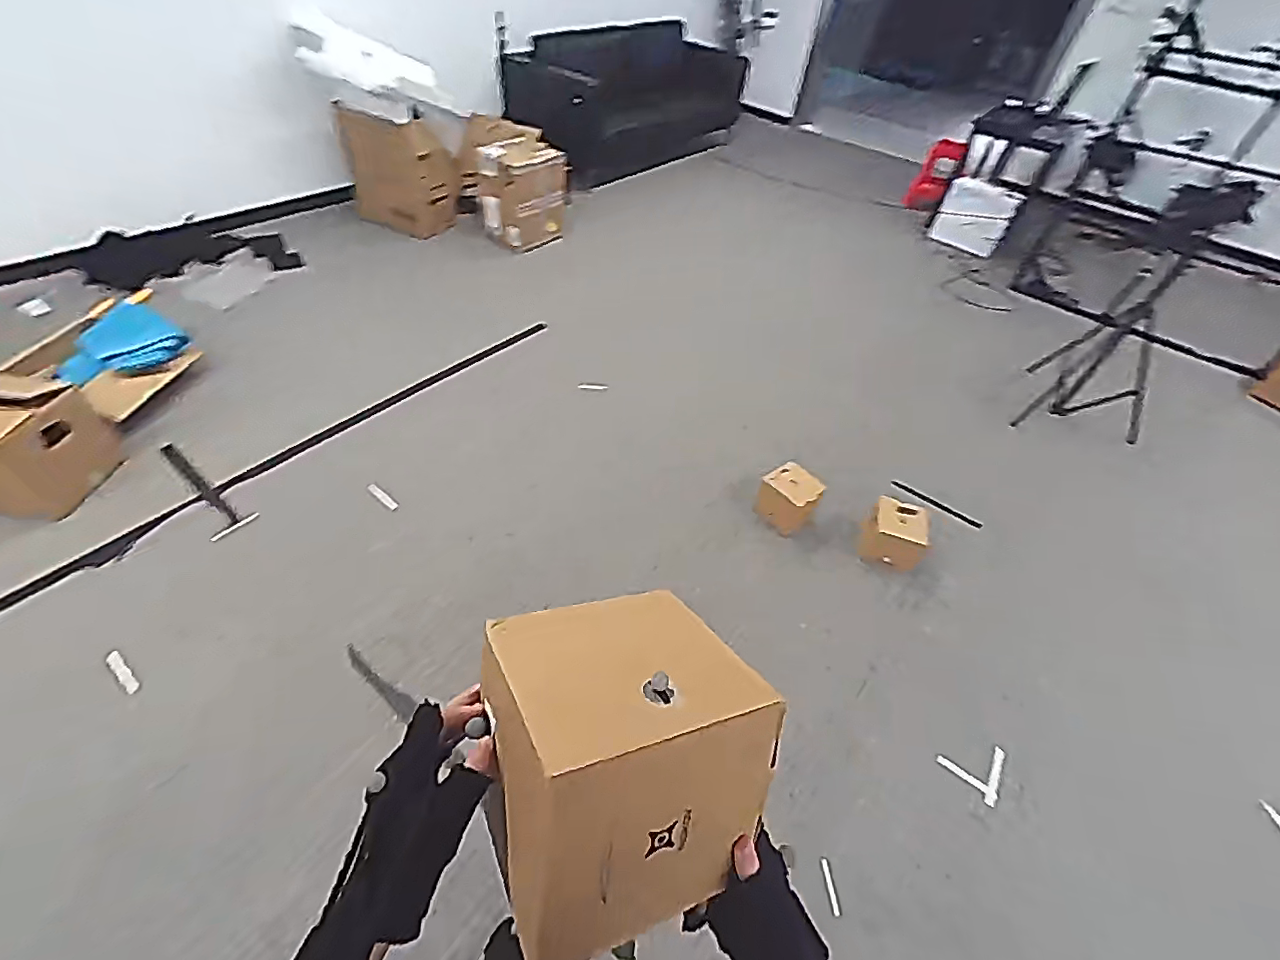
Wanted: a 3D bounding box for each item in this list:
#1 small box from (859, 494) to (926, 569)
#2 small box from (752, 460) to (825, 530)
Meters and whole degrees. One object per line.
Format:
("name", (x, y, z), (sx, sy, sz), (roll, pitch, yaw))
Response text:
("small box", (0.899, 0.185, 1.936), (0.168, 0.176, 0.179), (17, 48, 9))
("small box", (0.544, 0.064, 2.007), (0.168, 0.176, 0.179), (-28, 56, -30))
